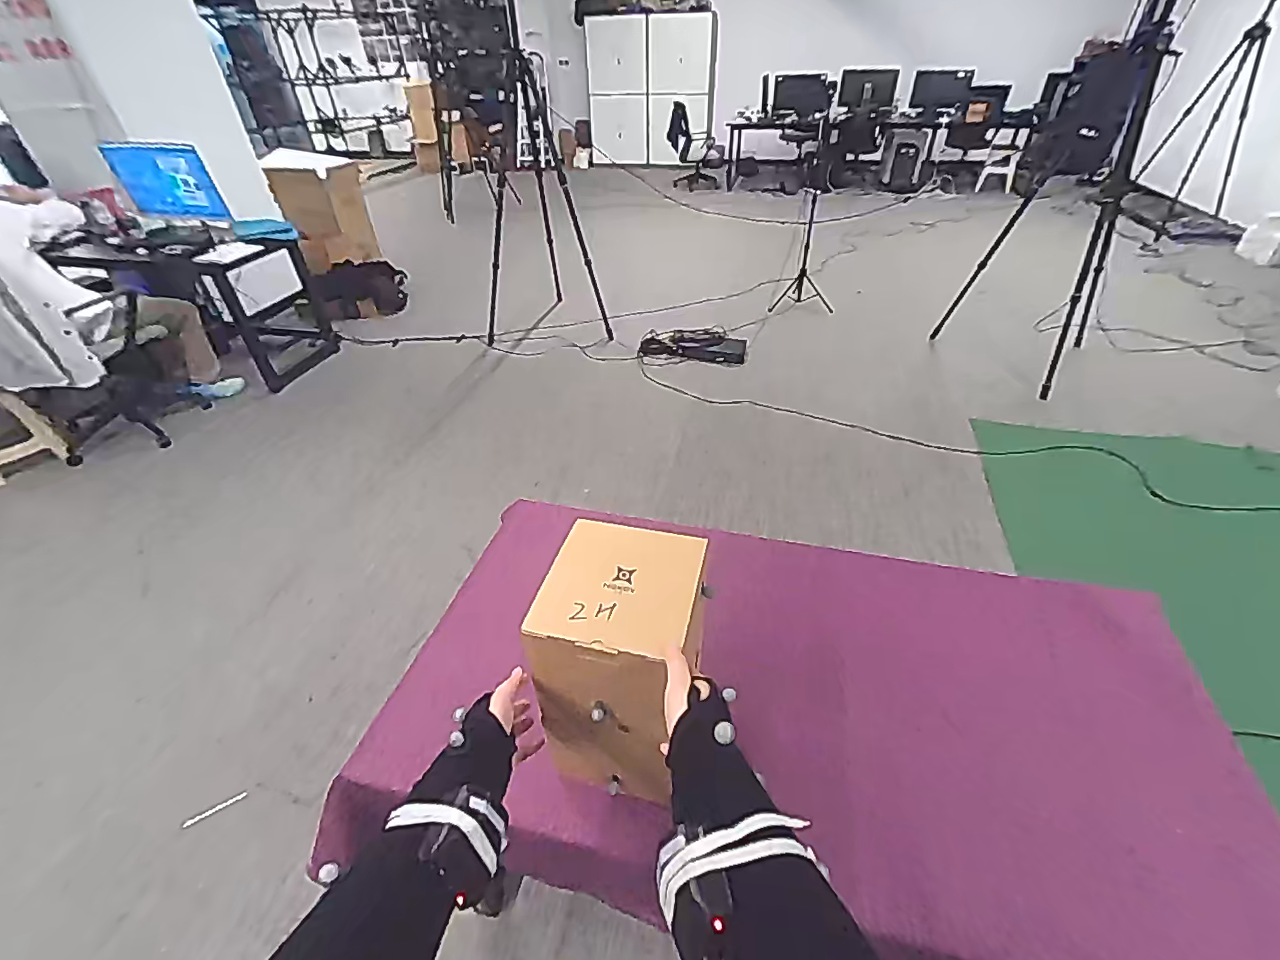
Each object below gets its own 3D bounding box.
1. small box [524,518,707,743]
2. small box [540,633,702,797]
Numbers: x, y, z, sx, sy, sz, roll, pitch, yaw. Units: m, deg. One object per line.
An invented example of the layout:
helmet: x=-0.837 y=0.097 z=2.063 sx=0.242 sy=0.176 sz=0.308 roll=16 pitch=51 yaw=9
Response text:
small box: x=-0.019 y=0.174 z=0.642 sx=0.168 sy=0.176 sz=0.179 roll=8 pitch=39 yaw=13
small box: x=-0.018 y=0.306 z=0.742 sx=0.179 sy=0.176 sz=0.168 roll=8 pitch=39 yaw=10
